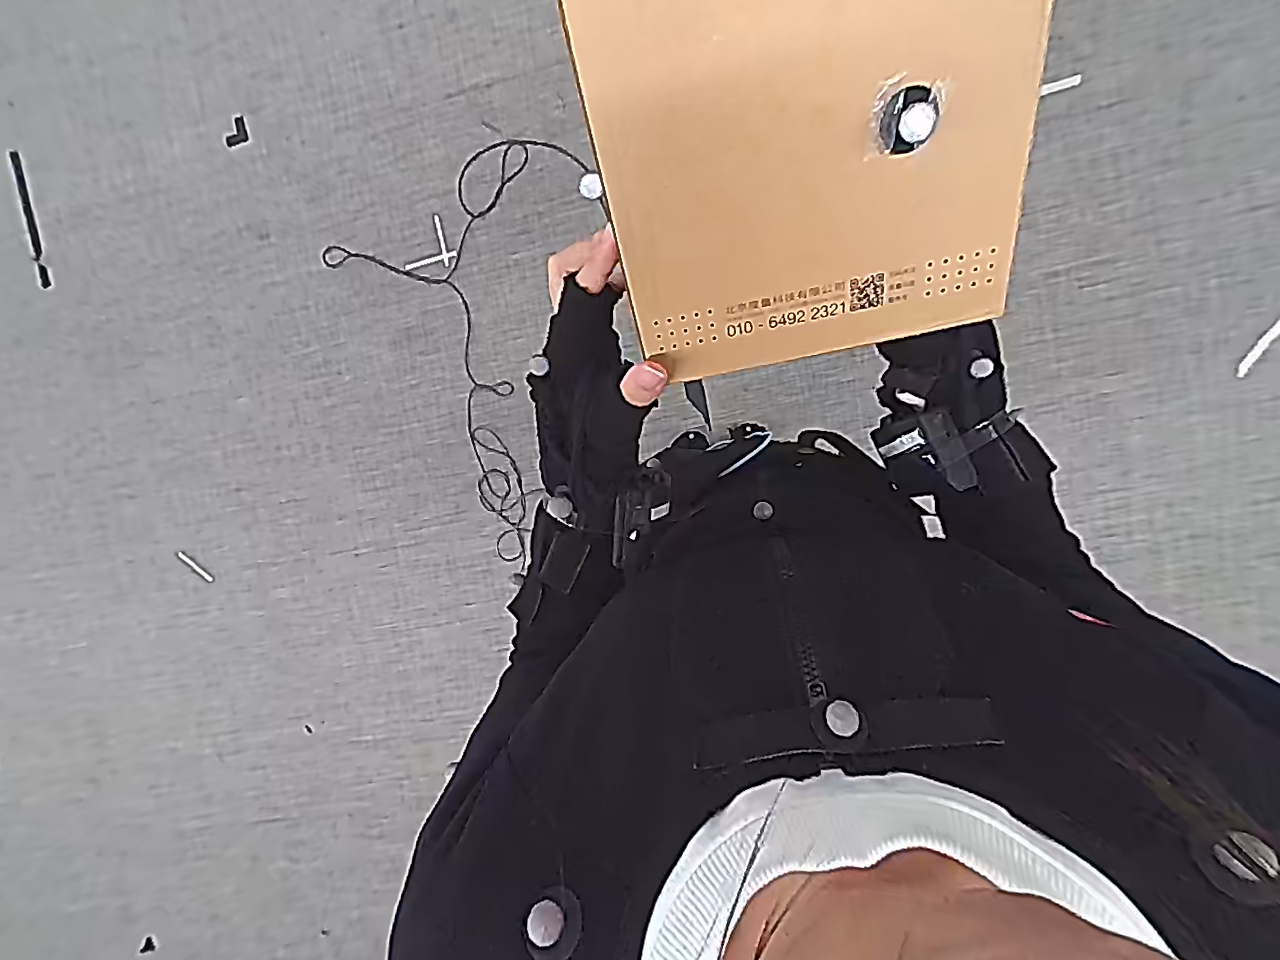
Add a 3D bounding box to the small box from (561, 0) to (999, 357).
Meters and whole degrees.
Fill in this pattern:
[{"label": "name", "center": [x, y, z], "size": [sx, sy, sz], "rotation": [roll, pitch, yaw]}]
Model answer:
[{"label": "small box", "center": [0.071, -0.179, 0.298], "size": [0.168, 0.179, 0.176], "rotation": [-9, 125, 9]}]
